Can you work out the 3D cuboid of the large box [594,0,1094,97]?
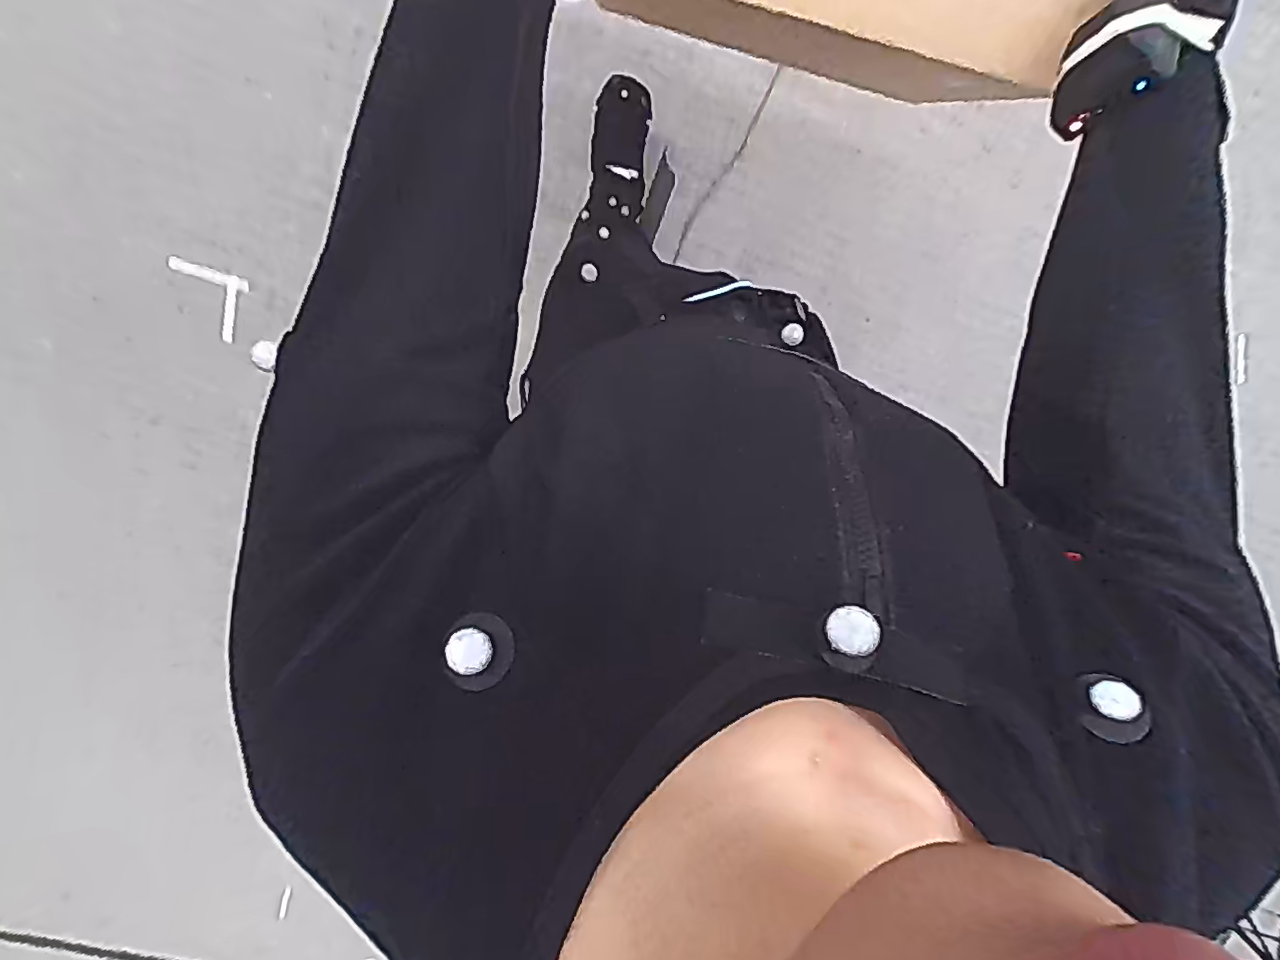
[{"bbox_3d":[0.170,-0.557,0.457,0.408,0.320,0.320,11,125,-6],"label":"large box"}]
